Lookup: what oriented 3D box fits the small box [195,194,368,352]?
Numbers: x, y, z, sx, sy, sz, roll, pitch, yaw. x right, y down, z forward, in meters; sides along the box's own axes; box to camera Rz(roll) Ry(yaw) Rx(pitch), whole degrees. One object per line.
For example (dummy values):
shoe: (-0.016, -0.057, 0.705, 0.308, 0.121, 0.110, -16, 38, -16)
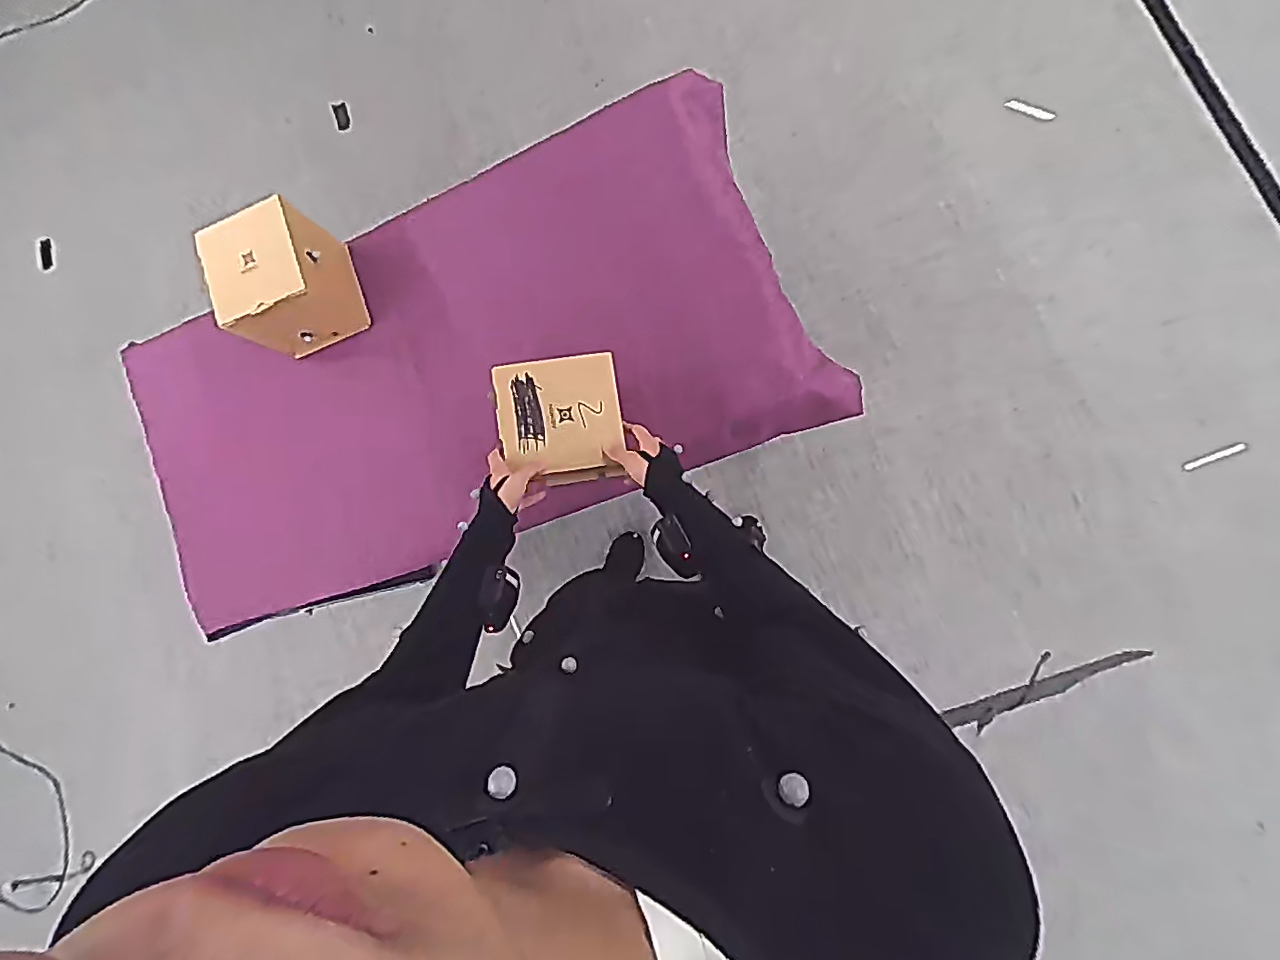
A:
small box: (-0.620, -0.353, 0.953, 0.168, 0.176, 0.179, -21, 84, 6)
